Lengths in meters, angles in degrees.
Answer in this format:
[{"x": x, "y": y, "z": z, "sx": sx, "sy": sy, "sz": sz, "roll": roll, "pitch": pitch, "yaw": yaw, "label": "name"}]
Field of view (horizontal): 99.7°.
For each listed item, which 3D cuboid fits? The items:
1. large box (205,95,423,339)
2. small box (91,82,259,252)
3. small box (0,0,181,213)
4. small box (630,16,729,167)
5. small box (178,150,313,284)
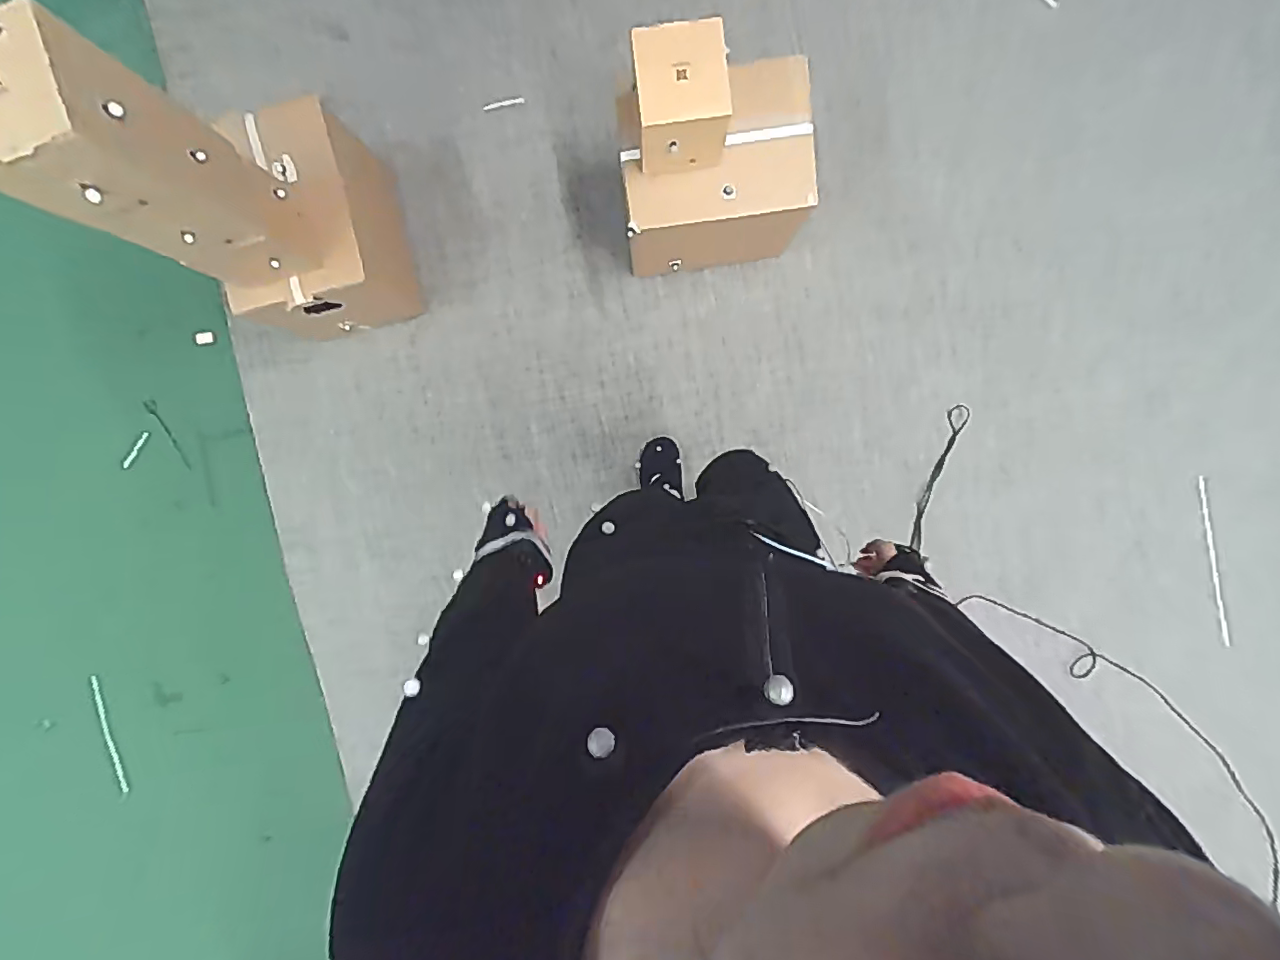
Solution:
[{"x": -0.783, "y": -0.602, "z": 1.316, "sx": 0.320, "sy": 0.320, "sz": 0.408, "roll": -13, "pitch": 93, "yaw": 2, "label": "large box"}, {"x": -0.795, "y": -0.509, "z": 0.914, "sx": 0.168, "sy": 0.176, "sz": 0.179, "roll": -18, "pitch": 92, "yaw": 2, "label": "small box"}, {"x": -0.798, "y": -0.497, "z": 0.750, "sx": 0.168, "sy": 0.176, "sz": 0.179, "roll": -16, "pitch": 94, "yaw": 2, "label": "small box"}, {"x": 0.074, "y": -0.731, "z": 1.041, "sx": 0.168, "sy": 0.176, "sz": 0.179, "roll": -6, "pitch": 91, "yaw": 2, "label": "small box"}, {"x": -0.790, "y": -0.513, "z": 1.078, "sx": 0.179, "sy": 0.176, "sz": 0.168, "roll": -14, "pitch": 93, "yaw": 3, "label": "small box"}]
